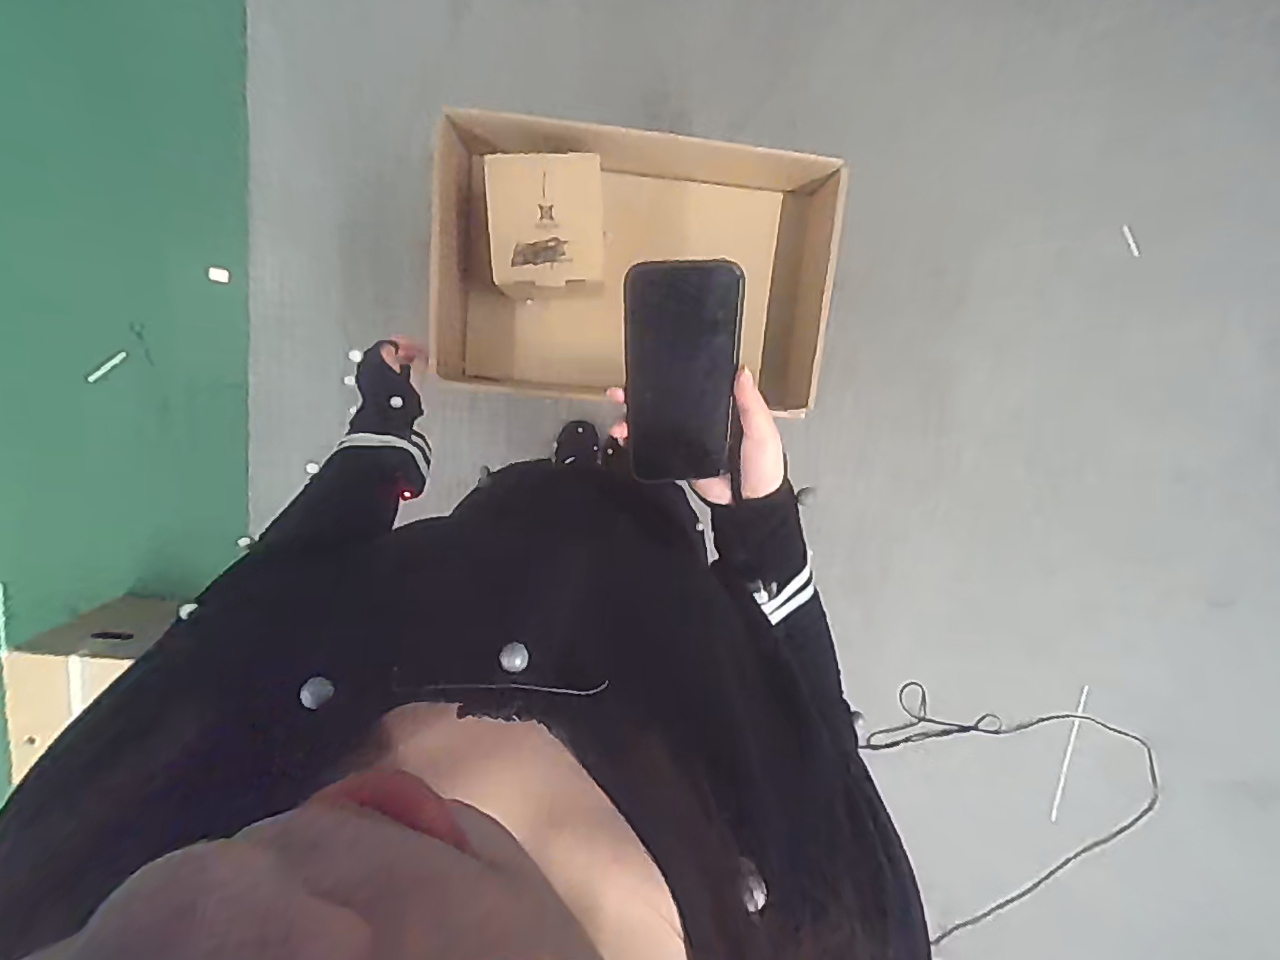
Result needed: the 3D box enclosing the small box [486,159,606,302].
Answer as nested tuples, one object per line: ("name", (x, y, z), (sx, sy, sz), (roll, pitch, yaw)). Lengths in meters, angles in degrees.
("small box", (-0.140, -0.383, 0.859), (0.168, 0.176, 0.179), (-2, 99, -3))
